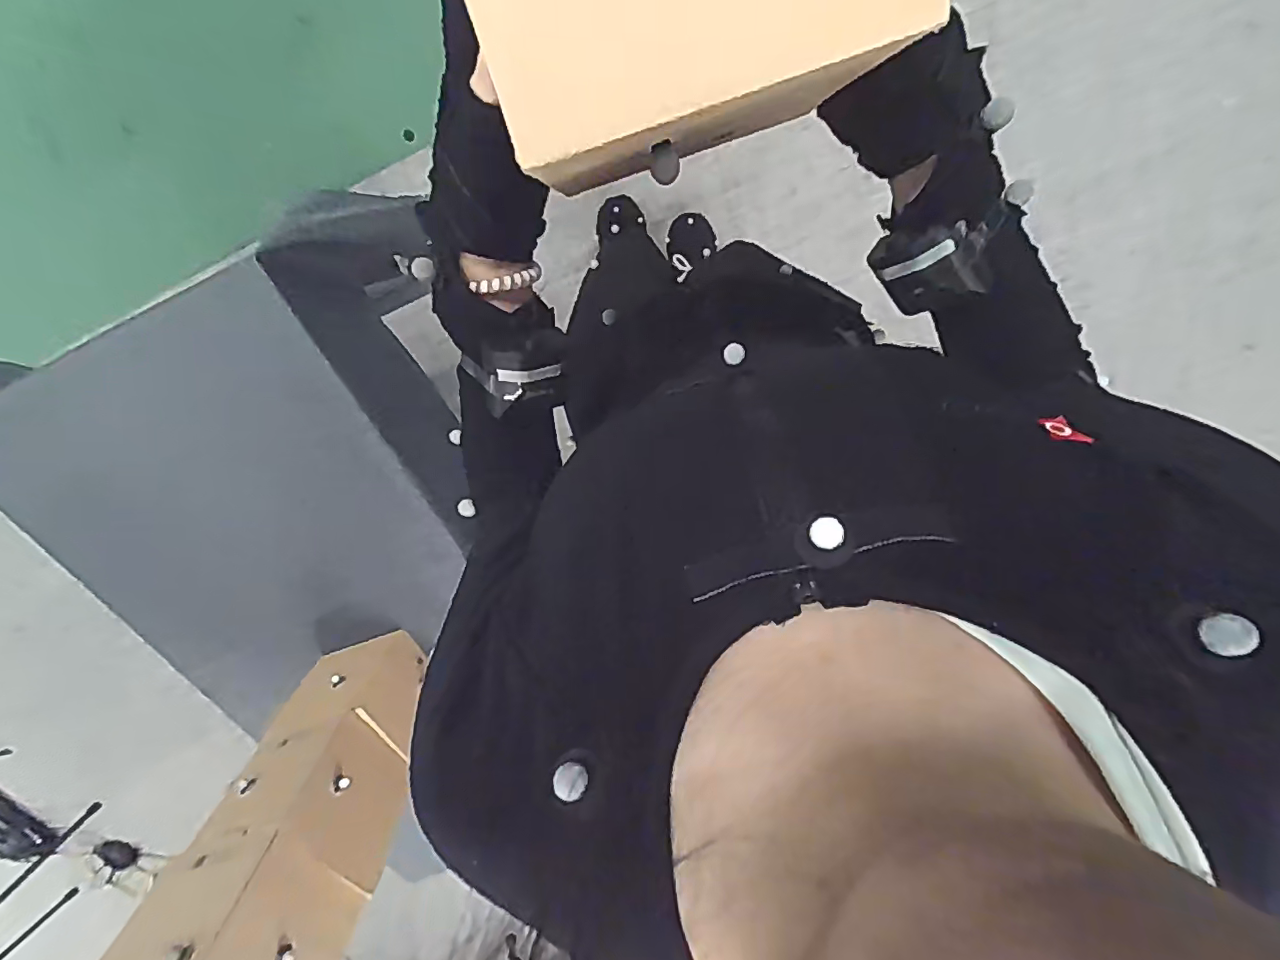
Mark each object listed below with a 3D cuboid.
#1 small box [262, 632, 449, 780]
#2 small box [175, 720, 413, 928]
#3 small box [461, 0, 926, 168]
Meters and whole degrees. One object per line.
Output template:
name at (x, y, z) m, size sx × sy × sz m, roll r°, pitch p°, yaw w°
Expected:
small box at (-0.447, 0.380, 0.881) m, size 0.179 × 0.176 × 0.168 m, roll -20°, pitch 114°, yaw 10°
small box at (-0.451, 0.456, 0.737) m, size 0.168 × 0.176 × 0.179 m, roll -22°, pitch 114°, yaw 12°
small box at (0.004, -0.258, 0.240) m, size 0.168 × 0.176 × 0.179 m, roll -16°, pitch 113°, yaw 6°
